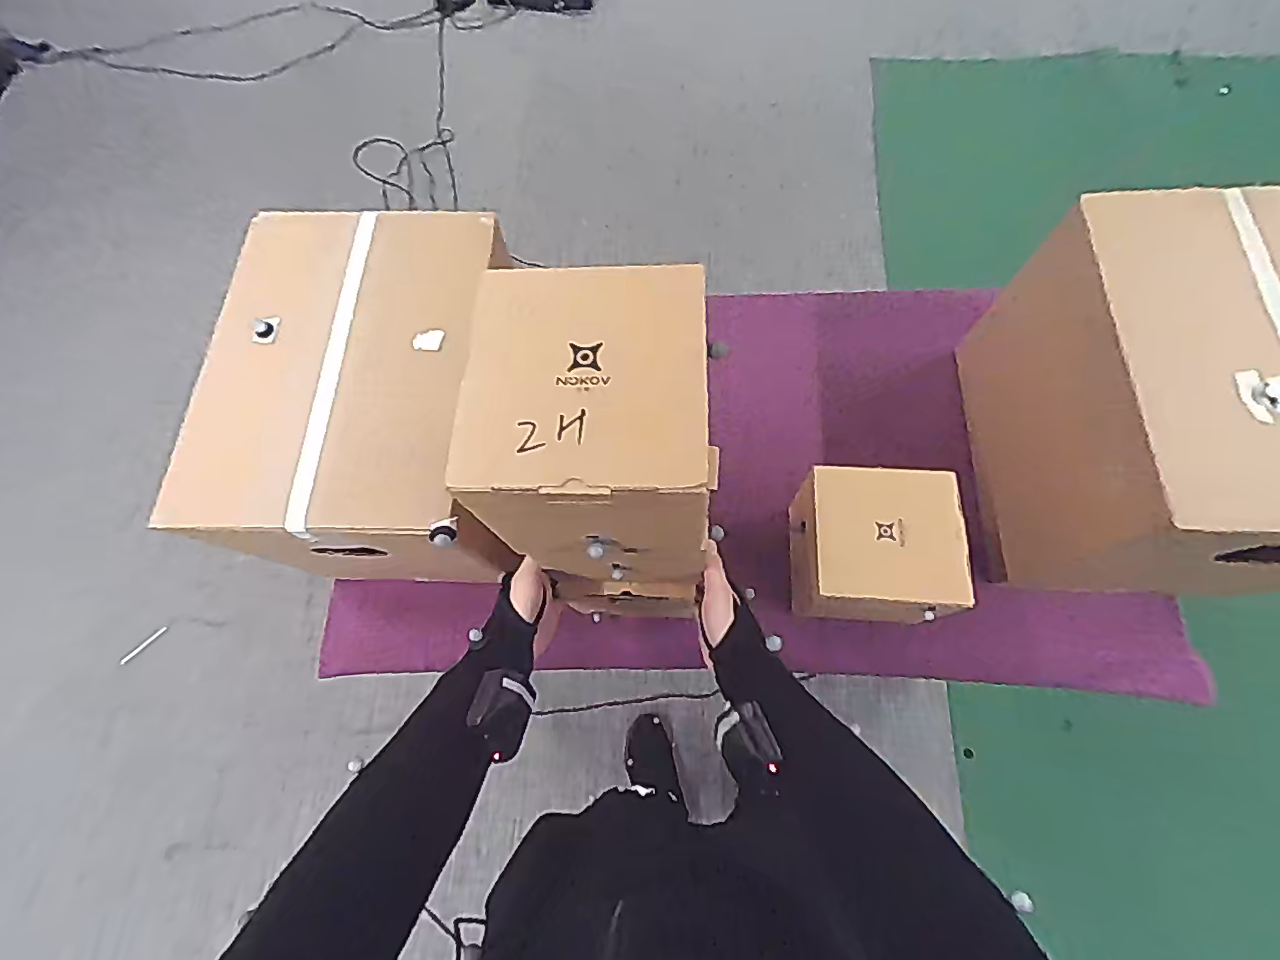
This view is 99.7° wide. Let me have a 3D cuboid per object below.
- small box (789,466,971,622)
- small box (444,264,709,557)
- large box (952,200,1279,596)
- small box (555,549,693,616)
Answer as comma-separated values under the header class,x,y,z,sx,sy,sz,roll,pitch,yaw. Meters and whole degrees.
class,x,y,z,sx,sy,sz,roll,pitch,yaw
small box,0.298,0.092,0.718,0.179,0.176,0.168,3,69,4
small box,-0.033,-0.045,0.433,0.168,0.176,0.179,0,69,4
large box,0.651,-0.080,0.687,0.320,0.320,0.408,1,71,5
small box,-0.011,0.086,0.735,0.168,0.176,0.179,1,68,3
